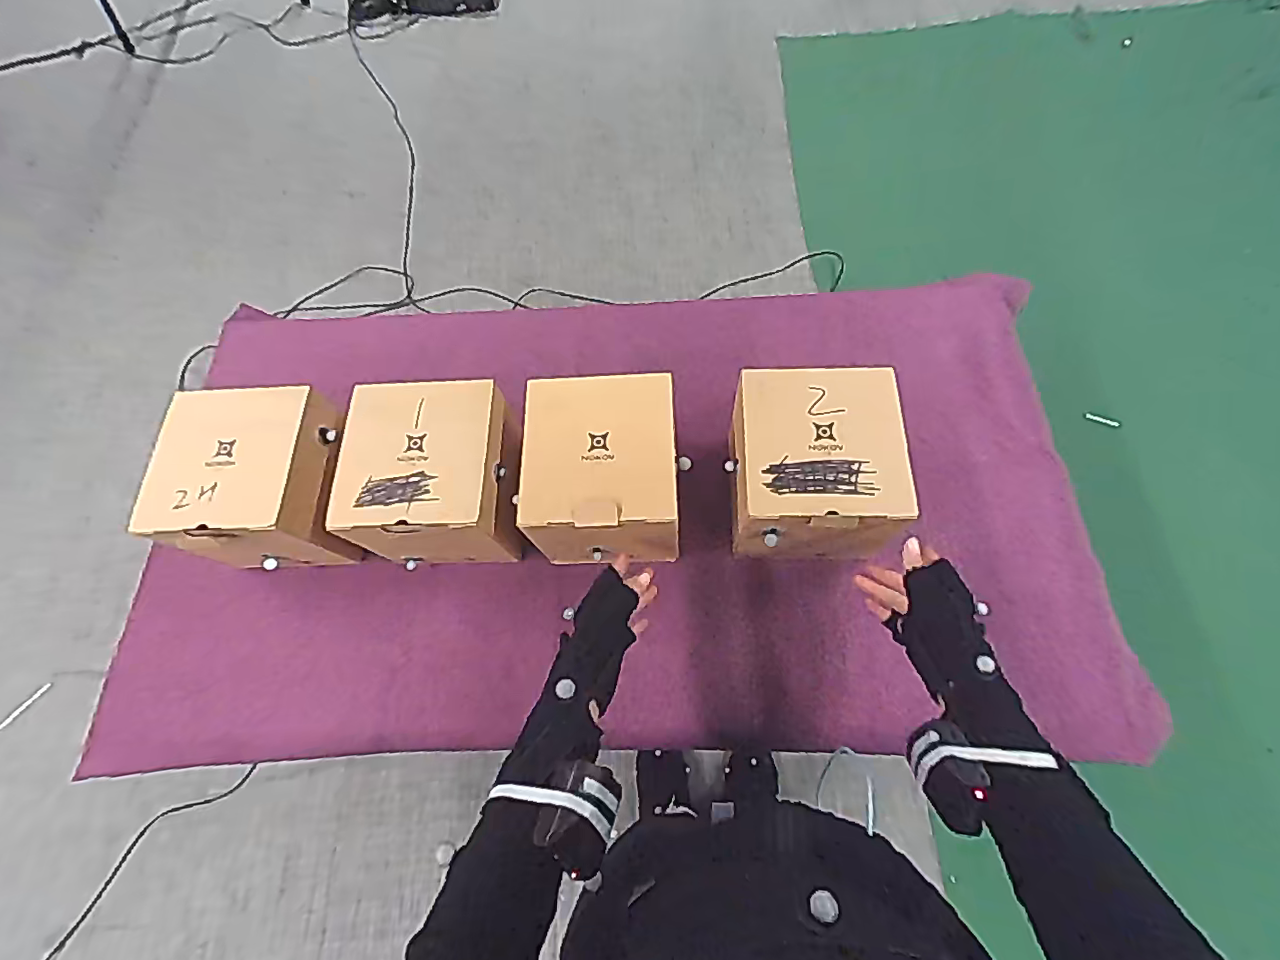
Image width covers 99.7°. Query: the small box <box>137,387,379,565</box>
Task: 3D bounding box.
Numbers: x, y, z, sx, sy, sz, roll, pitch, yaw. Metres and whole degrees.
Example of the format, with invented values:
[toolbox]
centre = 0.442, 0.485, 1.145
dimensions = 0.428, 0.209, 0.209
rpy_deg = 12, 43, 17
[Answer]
[small box]
centre = -0.455, 0.002, 0.680
dimensions = 0.168, 0.176, 0.179
rpy_deg = -2, 69, 4
